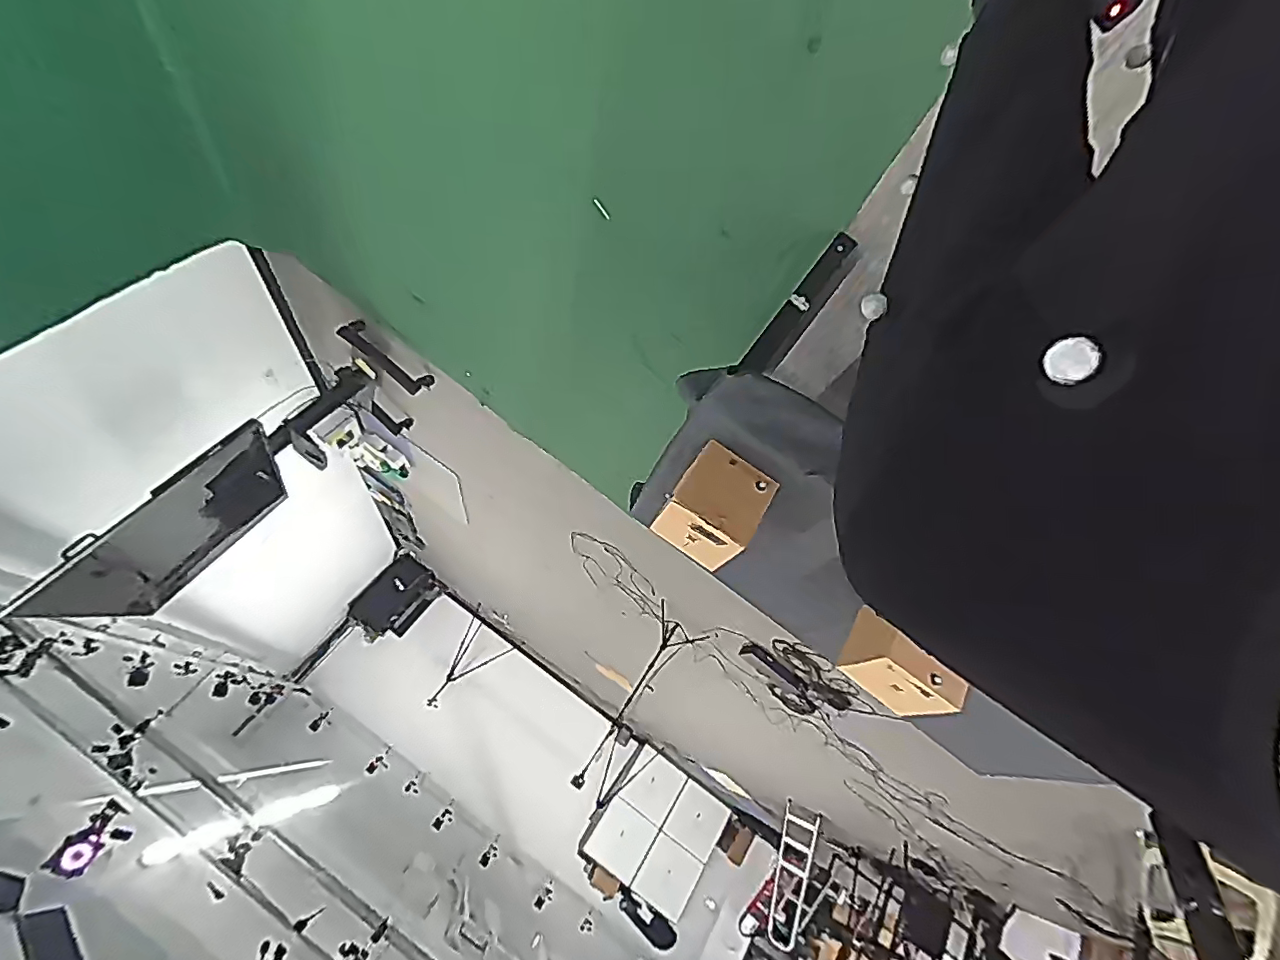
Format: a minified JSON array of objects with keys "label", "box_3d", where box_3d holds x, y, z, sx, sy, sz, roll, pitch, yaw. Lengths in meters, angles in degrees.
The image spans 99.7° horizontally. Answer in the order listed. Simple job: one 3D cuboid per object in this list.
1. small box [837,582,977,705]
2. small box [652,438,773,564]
[{"label":"small box","box_3d":[0.547,0.335,1.108,0.168,0.176,0.179,36,153,3]},{"label":"small box","box_3d":[0.153,0.043,1.120,0.168,0.176,0.179,34,153,2]}]
